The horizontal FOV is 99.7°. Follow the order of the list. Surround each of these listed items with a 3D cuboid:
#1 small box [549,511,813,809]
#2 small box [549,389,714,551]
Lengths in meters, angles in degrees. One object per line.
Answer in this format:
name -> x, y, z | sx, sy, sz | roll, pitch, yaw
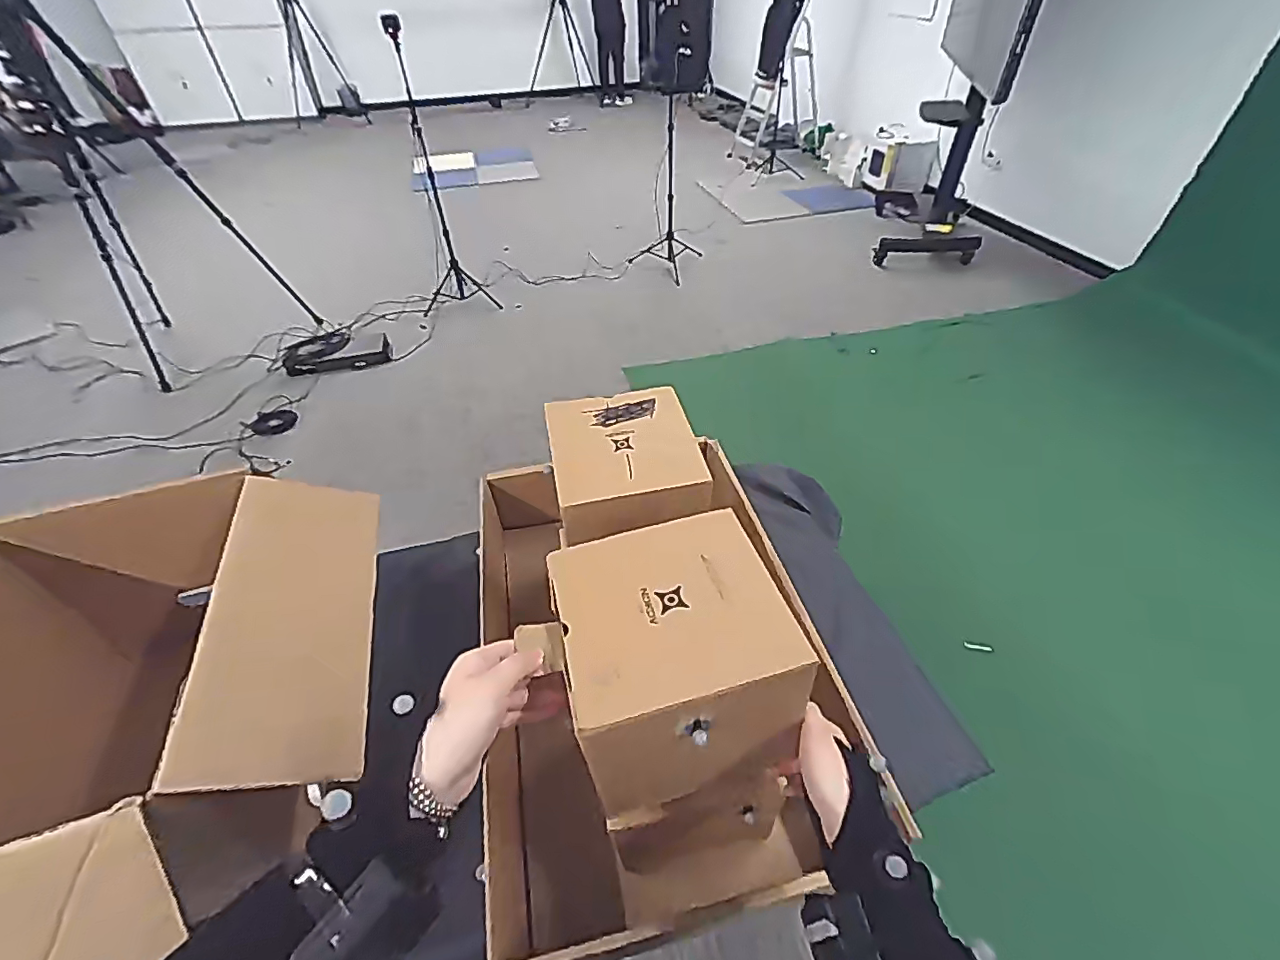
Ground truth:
small box -> 0.029, 0.159, 0.481 | 0.179, 0.176, 0.168 | -13, 42, -9
small box -> -0.016, 0.013, 0.677 | 0.168, 0.176, 0.179 | -10, 47, -7
